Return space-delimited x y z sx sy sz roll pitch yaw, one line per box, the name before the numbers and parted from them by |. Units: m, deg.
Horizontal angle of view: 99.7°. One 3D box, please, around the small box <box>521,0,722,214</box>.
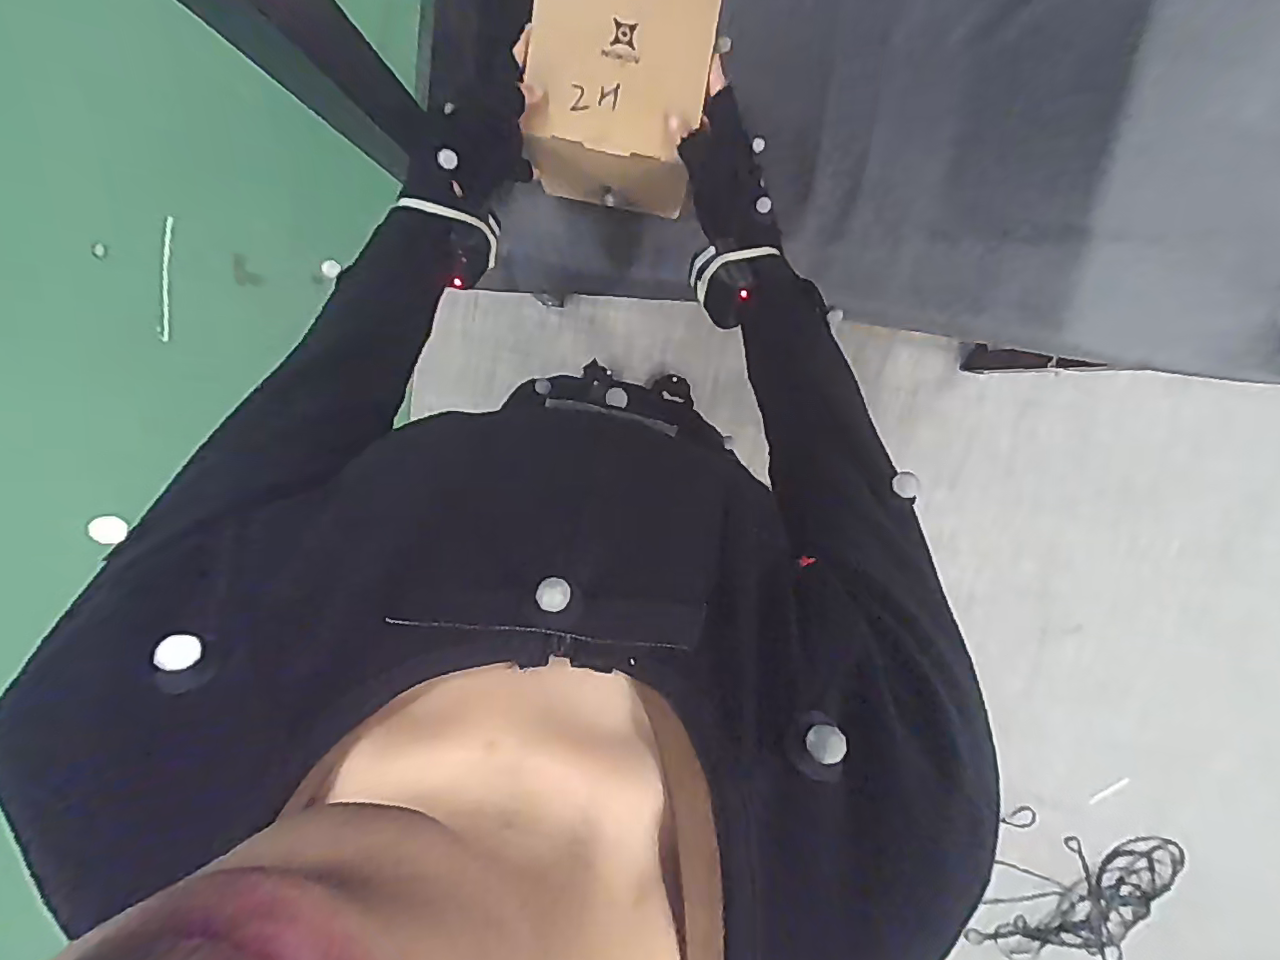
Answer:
small box | -0.019 -0.409 0.568 0.168 0.176 0.179 9 100 -3
